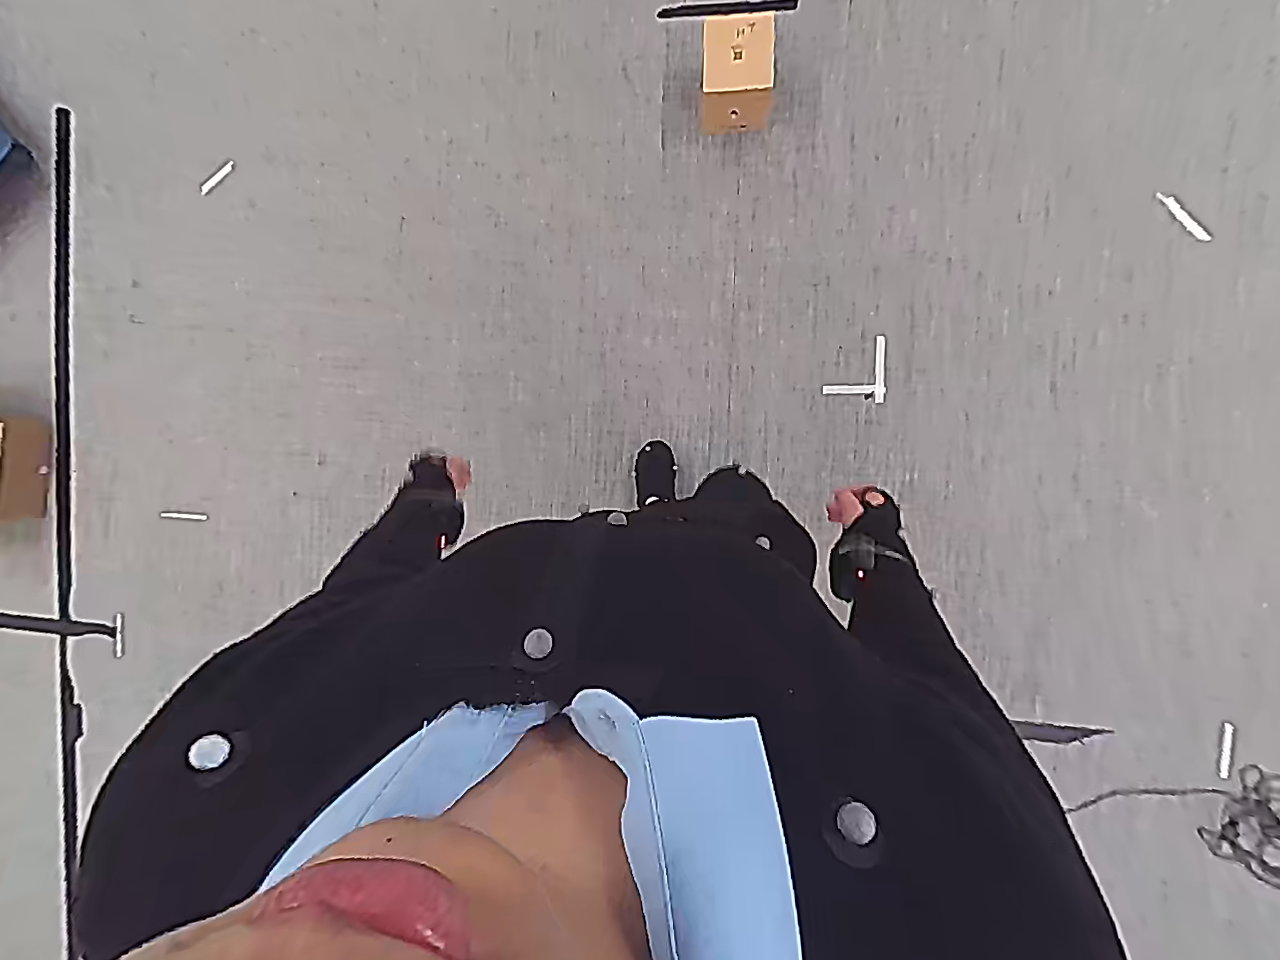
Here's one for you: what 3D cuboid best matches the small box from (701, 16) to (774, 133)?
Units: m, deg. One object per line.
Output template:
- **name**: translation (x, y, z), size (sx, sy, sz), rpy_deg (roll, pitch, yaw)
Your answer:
- **small box**: translation (0.238, -0.995, 1.346), size (0.168, 0.176, 0.179), rpy_deg (1, 92, 6)
